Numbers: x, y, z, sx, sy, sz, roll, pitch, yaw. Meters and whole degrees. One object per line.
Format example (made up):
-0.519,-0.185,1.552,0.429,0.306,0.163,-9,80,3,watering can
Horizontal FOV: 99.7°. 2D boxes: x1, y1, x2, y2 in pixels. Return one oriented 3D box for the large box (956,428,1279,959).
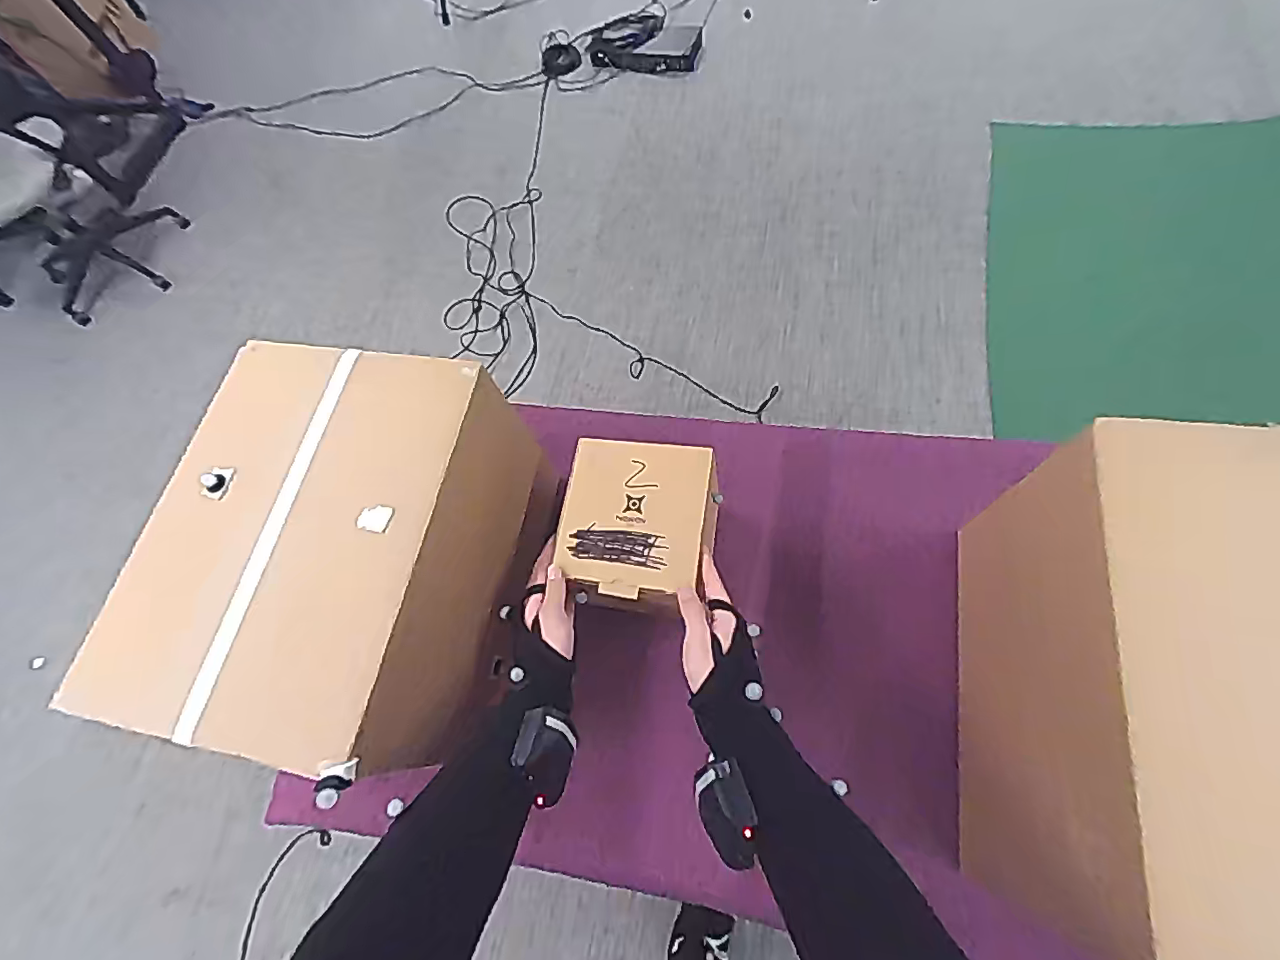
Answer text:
0.516,0.208,0.492,0.320,0.320,0.408,7,68,13,large box
